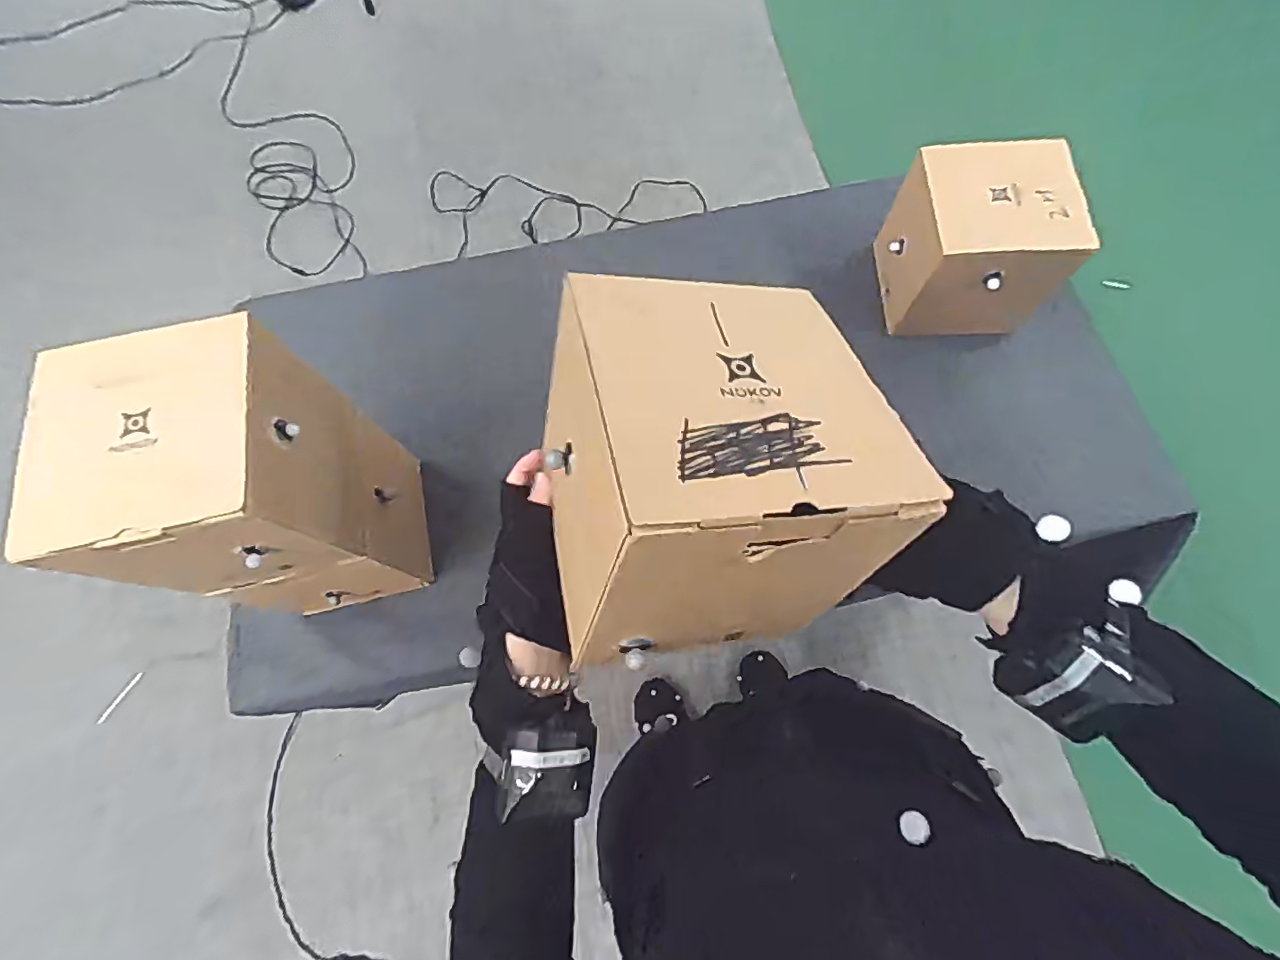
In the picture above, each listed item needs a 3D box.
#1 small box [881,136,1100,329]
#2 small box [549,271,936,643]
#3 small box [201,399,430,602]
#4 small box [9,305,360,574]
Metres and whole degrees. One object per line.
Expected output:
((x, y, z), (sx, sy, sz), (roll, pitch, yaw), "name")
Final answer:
((0.434, -0.313, 0.708), (0.179, 0.176, 0.168), (0, 72, 3), "small box")
((0.036, -0.007, 0.350), (0.168, 0.176, 0.179), (-2, 54, -17), "small box")
((-0.363, 0.033, 0.632), (0.168, 0.176, 0.179), (-13, 72, -2), "small box")
((-0.370, -0.020, 0.478), (0.168, 0.176, 0.179), (-11, 71, -3), "small box")
